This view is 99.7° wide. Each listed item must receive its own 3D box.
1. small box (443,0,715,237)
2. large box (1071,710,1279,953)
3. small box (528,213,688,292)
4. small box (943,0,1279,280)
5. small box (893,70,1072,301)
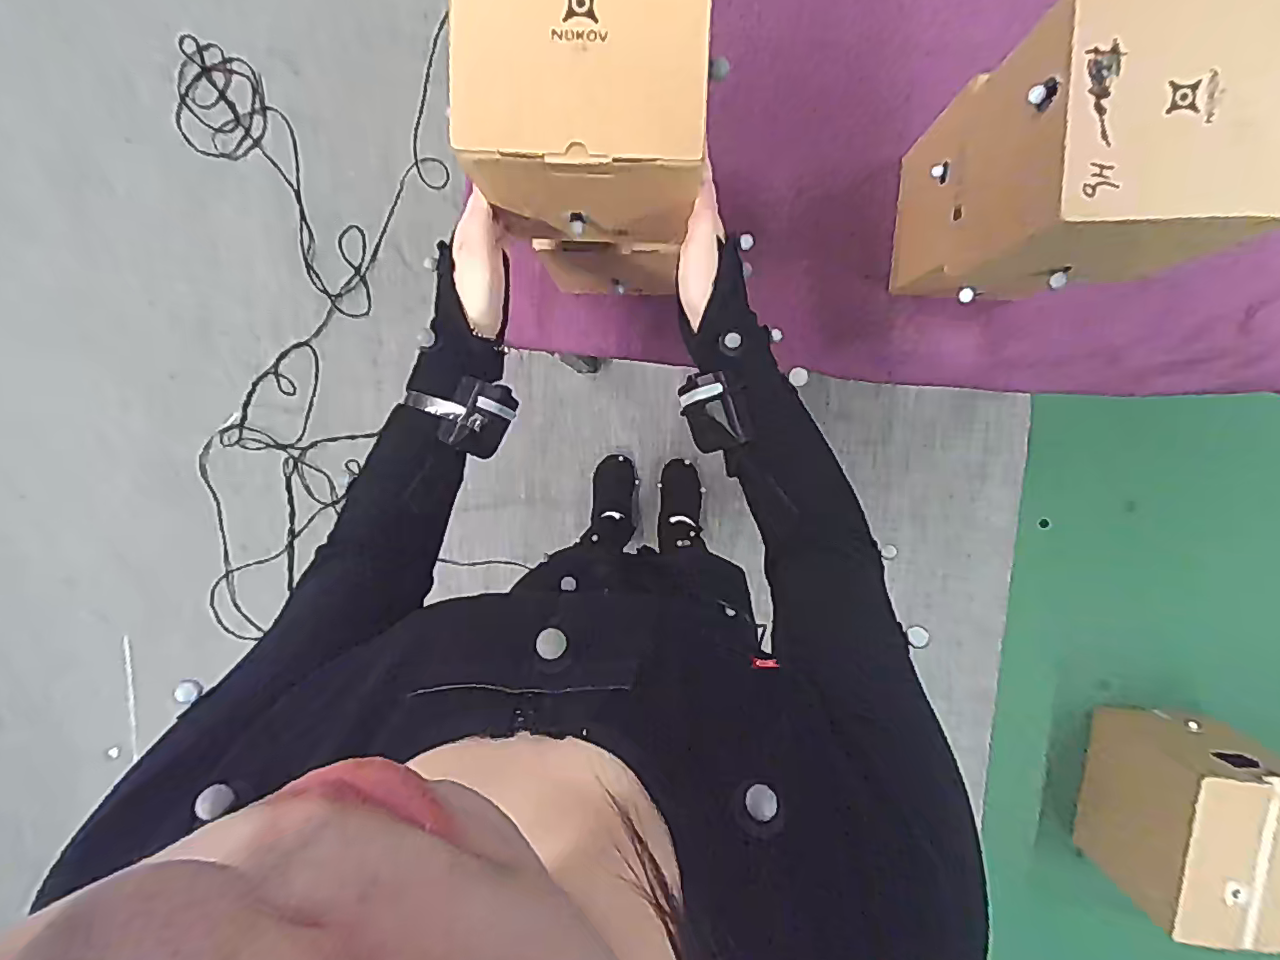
[{"bbox_3d":[-0.037,-0.302,0.404,0.168,0.176,0.179,2,99,0],"label":"small box"},{"bbox_3d":[1.364,0.842,1.347,0.320,0.320,0.408,5,97,2],"label":"large box"},{"bbox_3d":[-0.028,-0.331,0.627,0.168,0.176,0.179,2,95,3],"label":"small box"},{"bbox_3d":[0.390,-0.274,0.452,0.179,0.176,0.168,1,96,2],"label":"small box"},{"bbox_3d":[0.407,-0.315,0.611,0.168,0.176,0.179,4,96,2],"label":"small box"}]
